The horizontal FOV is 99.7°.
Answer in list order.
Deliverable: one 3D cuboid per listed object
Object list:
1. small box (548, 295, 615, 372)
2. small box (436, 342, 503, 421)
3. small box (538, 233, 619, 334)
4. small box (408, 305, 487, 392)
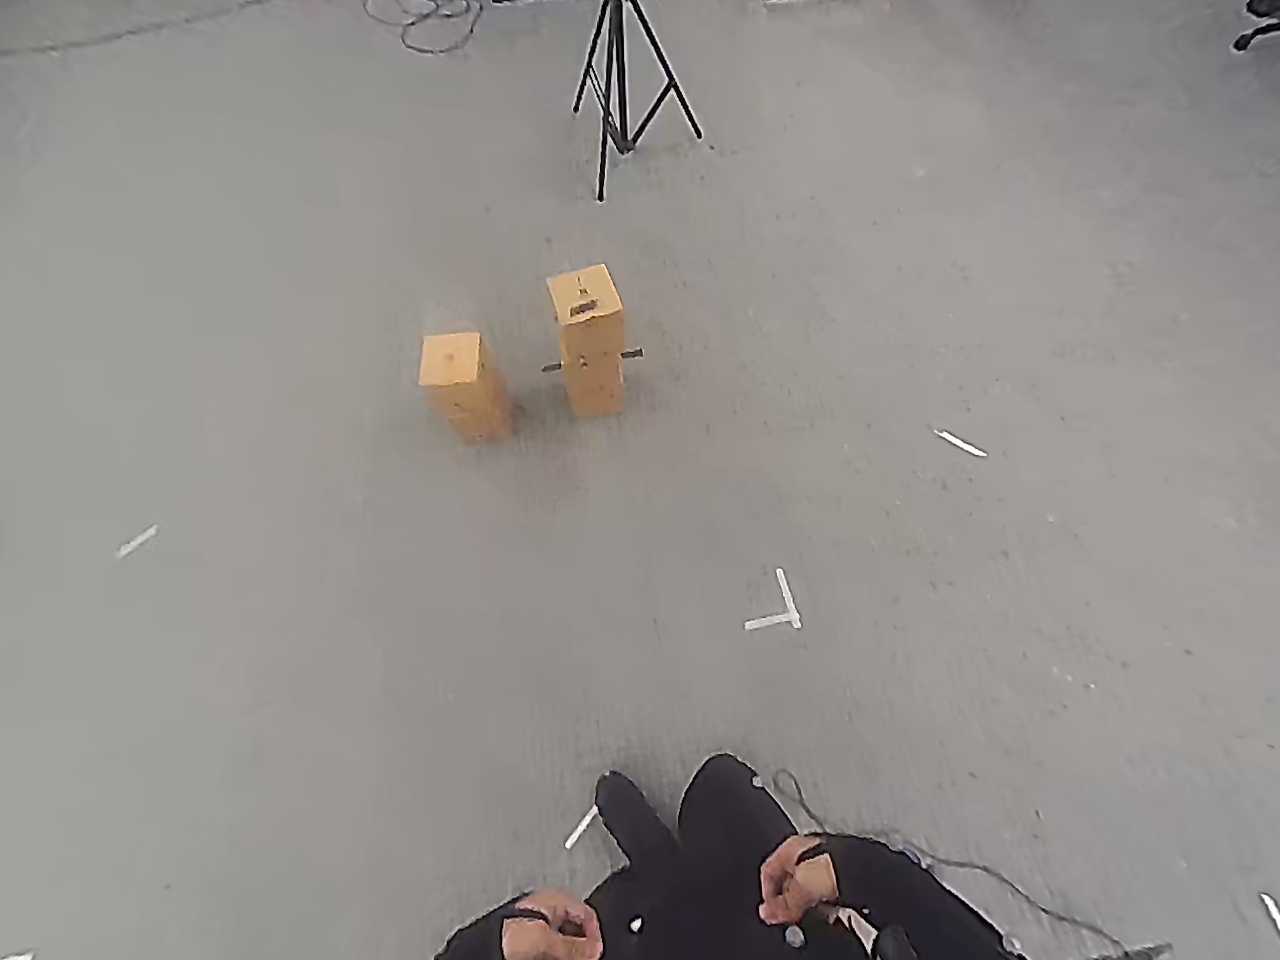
[{"bbox_3d":[-0.170,-0.444,1.581,0.168,0.176,0.179,-10,65,-4],"label":"small box"},{"bbox_3d":[-0.533,-0.308,1.707,0.168,0.176,0.179,-7,65,-2],"label":"small box"},{"bbox_3d":[-0.158,-0.508,1.428,0.168,0.176,0.179,-17,67,-7],"label":"small box"},{"bbox_3d":[-0.548,-0.376,1.560,0.168,0.176,0.179,-5,67,0],"label":"small box"}]
